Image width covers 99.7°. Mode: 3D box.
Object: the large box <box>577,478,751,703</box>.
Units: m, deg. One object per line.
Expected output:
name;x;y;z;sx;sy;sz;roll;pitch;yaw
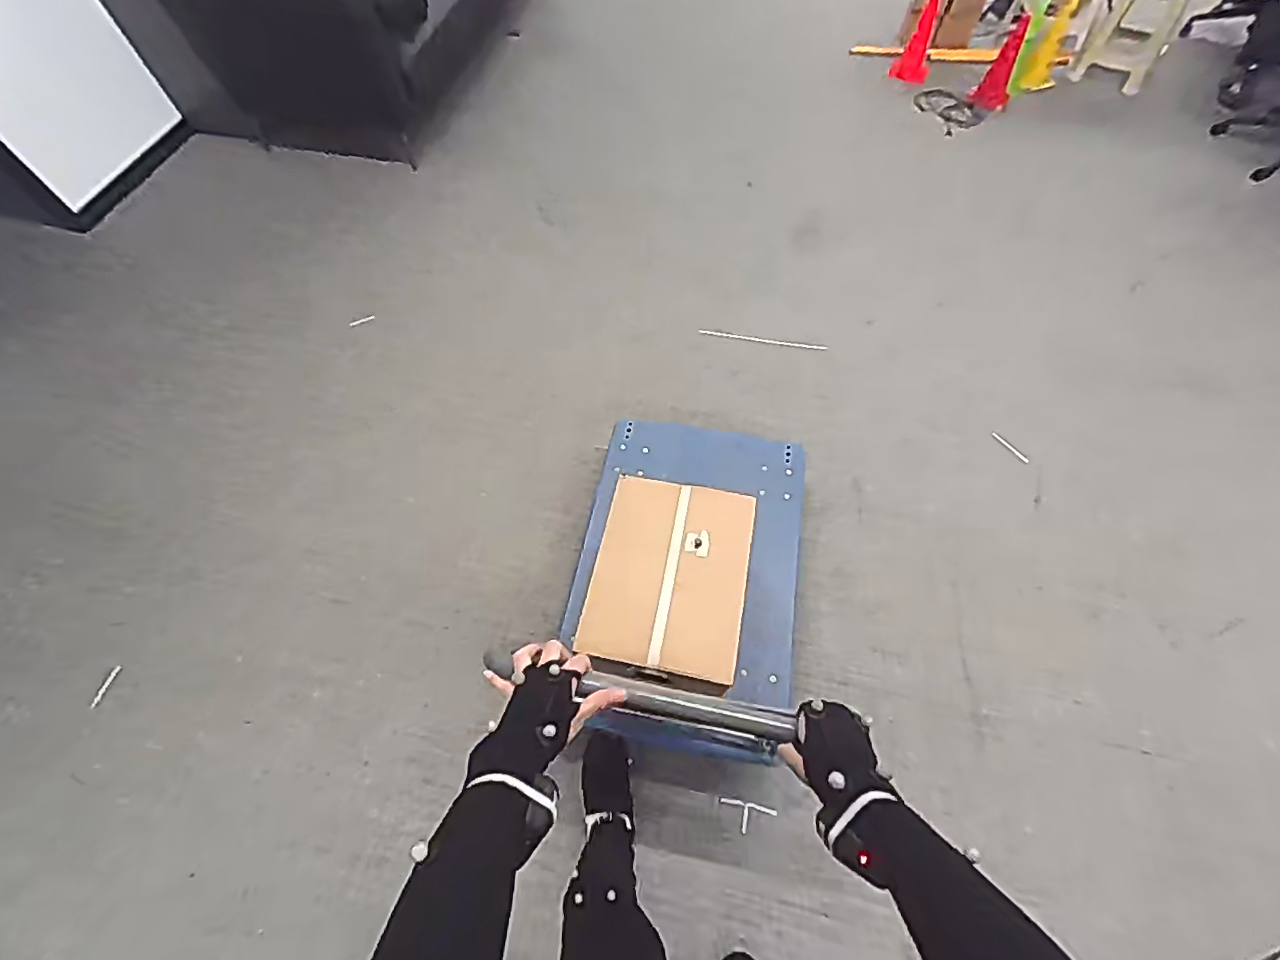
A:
large box;0.065;0.261;1.249;0.320;0.320;0.408;10;60;6
